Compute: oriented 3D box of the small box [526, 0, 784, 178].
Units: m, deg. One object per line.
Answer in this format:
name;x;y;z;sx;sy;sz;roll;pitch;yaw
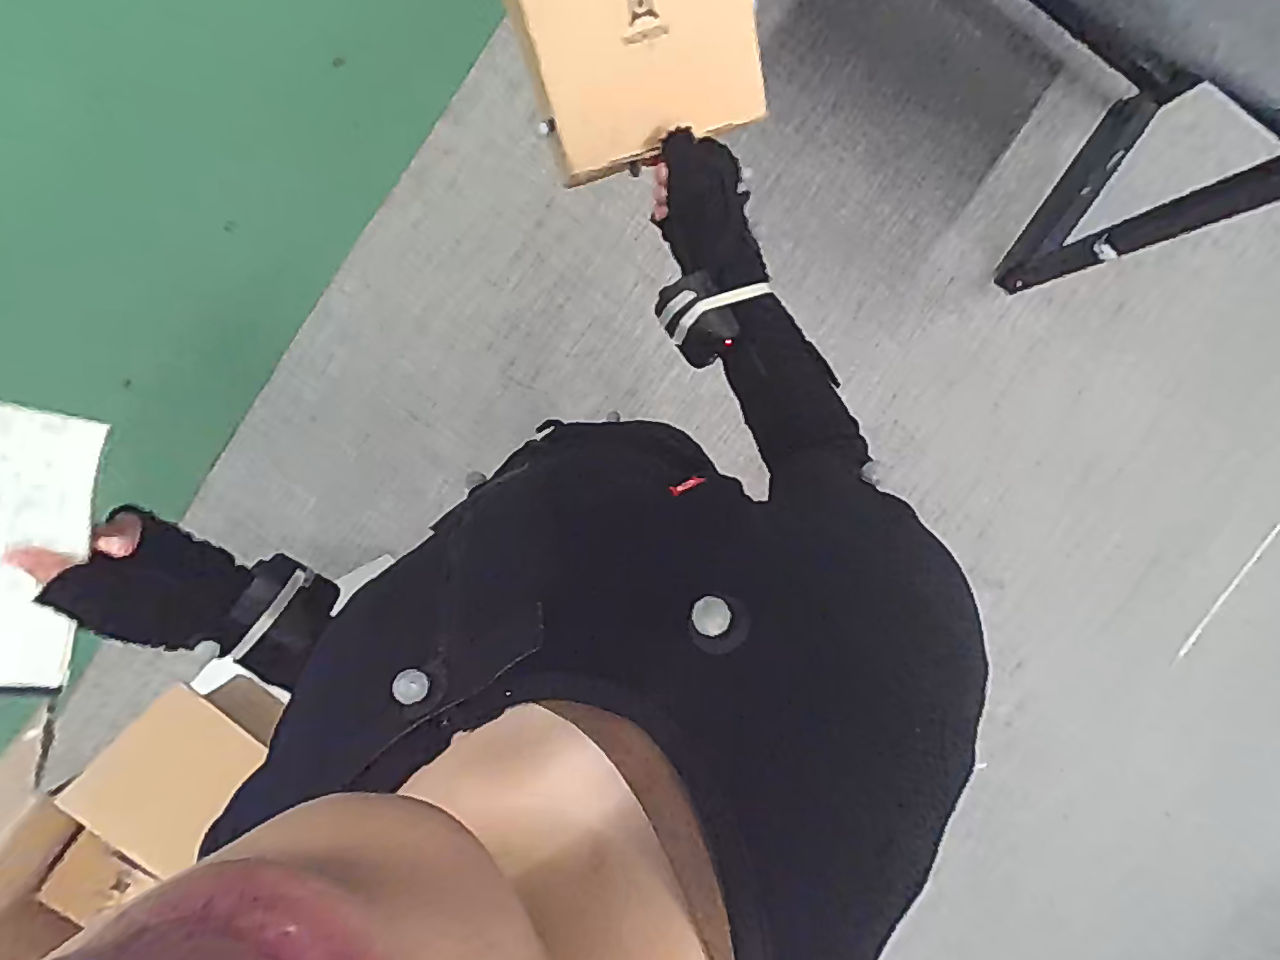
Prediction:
small box;0.002;-0.377;0.459;0.168;0.176;0.179;-18;118;-2
